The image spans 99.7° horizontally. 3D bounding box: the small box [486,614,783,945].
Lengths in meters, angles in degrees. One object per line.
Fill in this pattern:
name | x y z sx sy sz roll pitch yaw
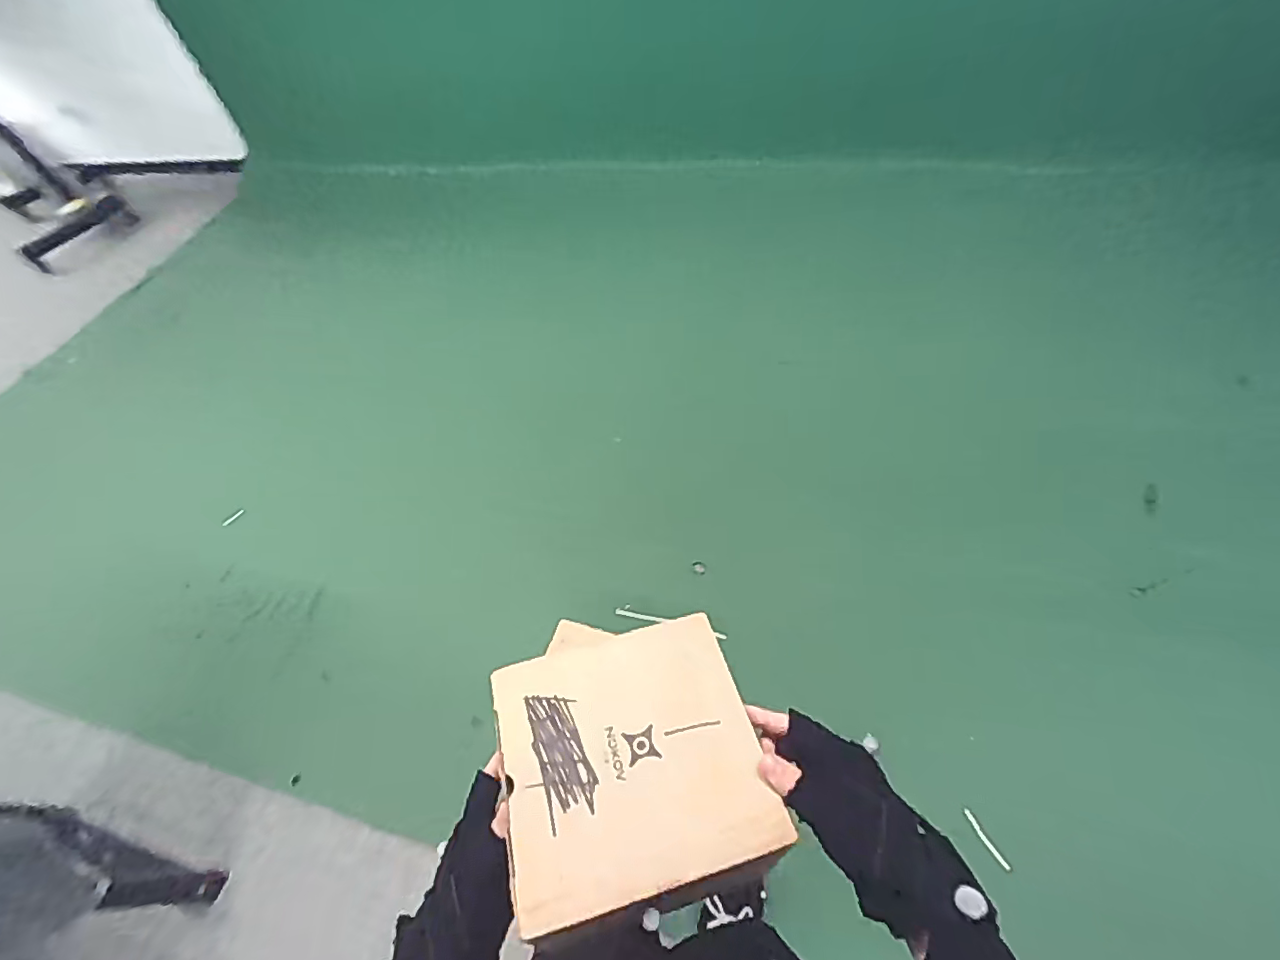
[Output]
small box | -0.010 0.240 0.432 0.179 0.176 0.168 -14 48 -10
